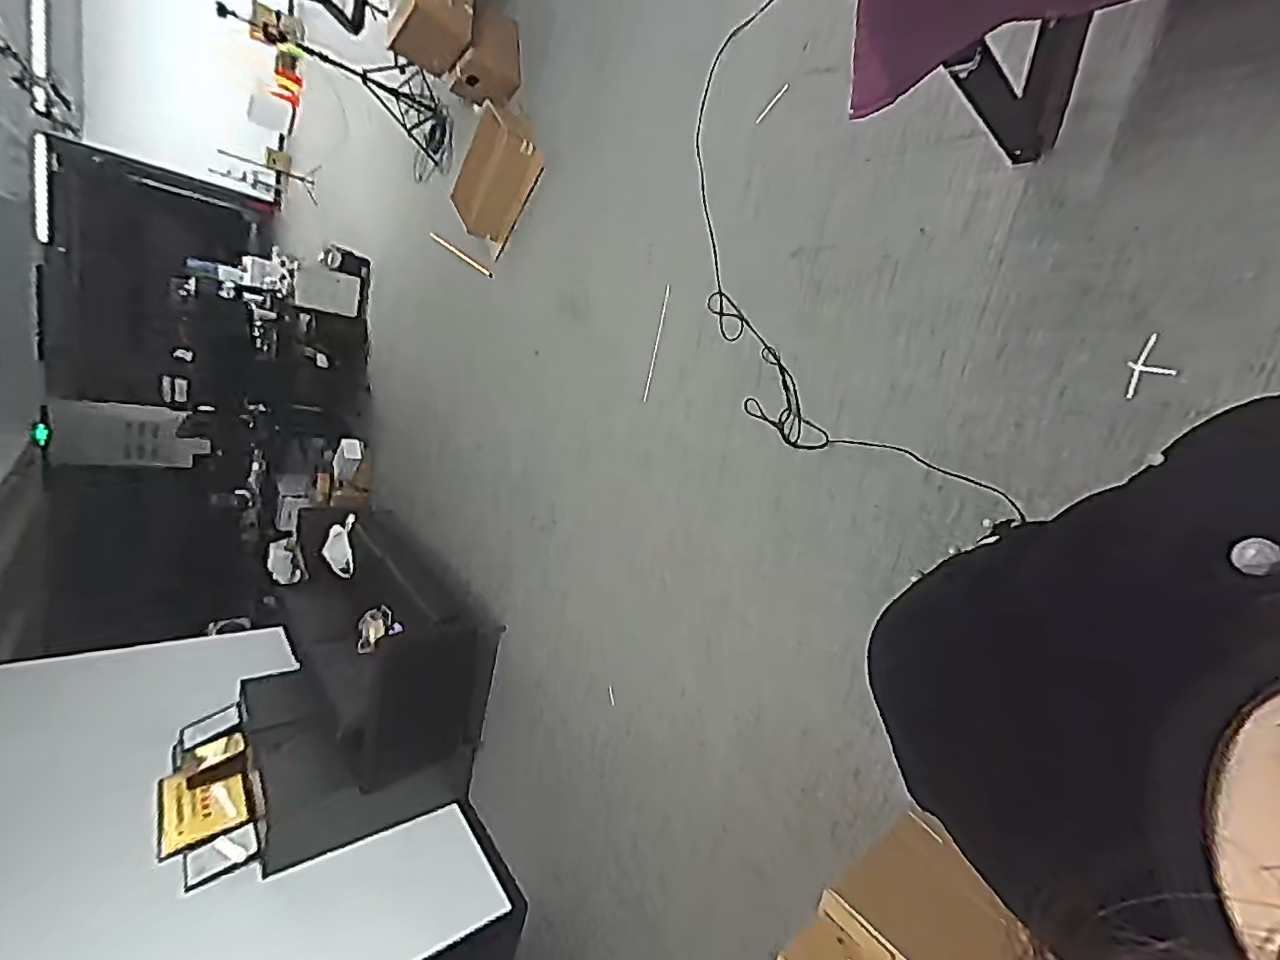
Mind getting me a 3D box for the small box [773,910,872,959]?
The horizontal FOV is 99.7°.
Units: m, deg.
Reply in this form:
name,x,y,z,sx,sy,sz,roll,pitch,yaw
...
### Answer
name,x,y,z,sx,sy,sz,roll,pitch,yaw
small box,0.362,1.030,1.080,0.168,0.176,0.179,25,107,45
